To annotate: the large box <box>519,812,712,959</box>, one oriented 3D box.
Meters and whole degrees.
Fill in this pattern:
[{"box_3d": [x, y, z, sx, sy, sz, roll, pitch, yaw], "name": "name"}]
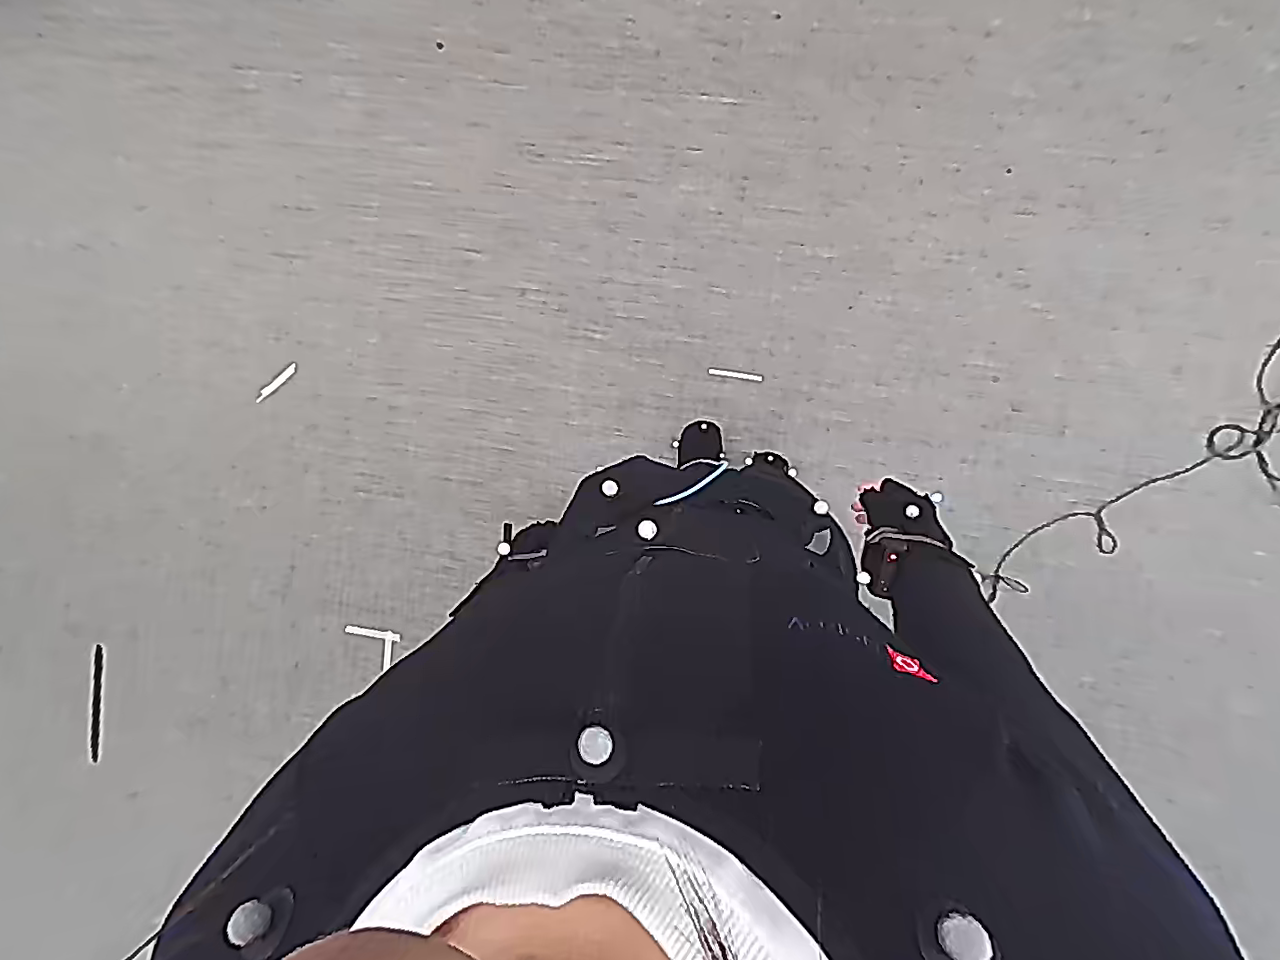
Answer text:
[{"box_3d": [-0.058, 1.162, 1.387, 0.408, 0.320, 0.320, 24, 95, 8], "name": "large box"}]
